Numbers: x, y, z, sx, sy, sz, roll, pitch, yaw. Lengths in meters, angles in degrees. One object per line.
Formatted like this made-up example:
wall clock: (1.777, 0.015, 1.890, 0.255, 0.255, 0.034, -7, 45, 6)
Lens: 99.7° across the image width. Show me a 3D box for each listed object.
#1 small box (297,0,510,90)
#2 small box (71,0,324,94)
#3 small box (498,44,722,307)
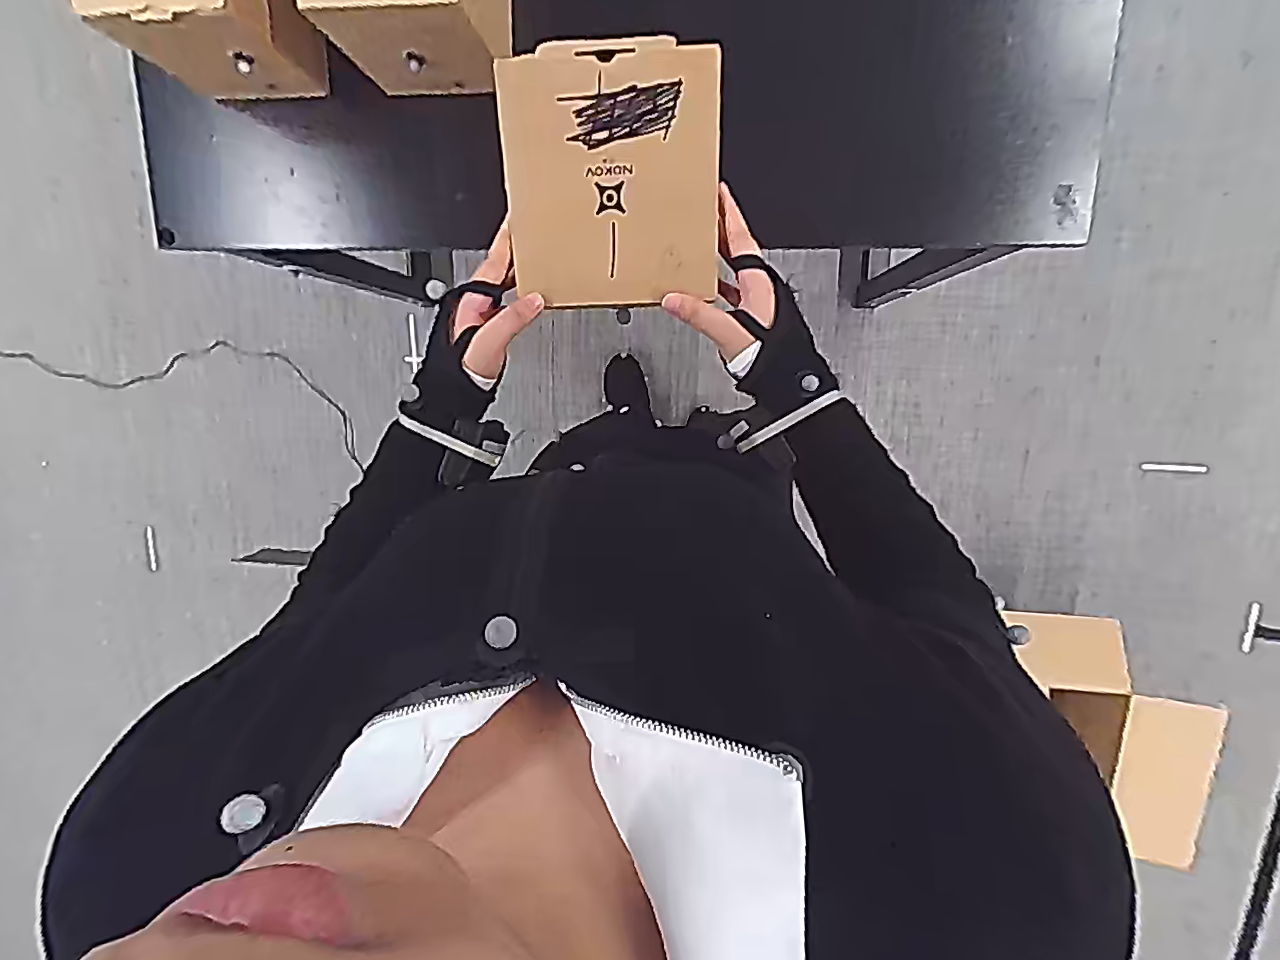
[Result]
small box: (-0.245, -0.555, 0.584, 0.168, 0.176, 0.179, 2, 100, 4)
small box: (-0.484, -0.564, 0.604, 0.168, 0.176, 0.179, 1, 99, 4)
small box: (-0.018, -0.251, 0.490, 0.168, 0.176, 0.179, 0, 108, 4)
